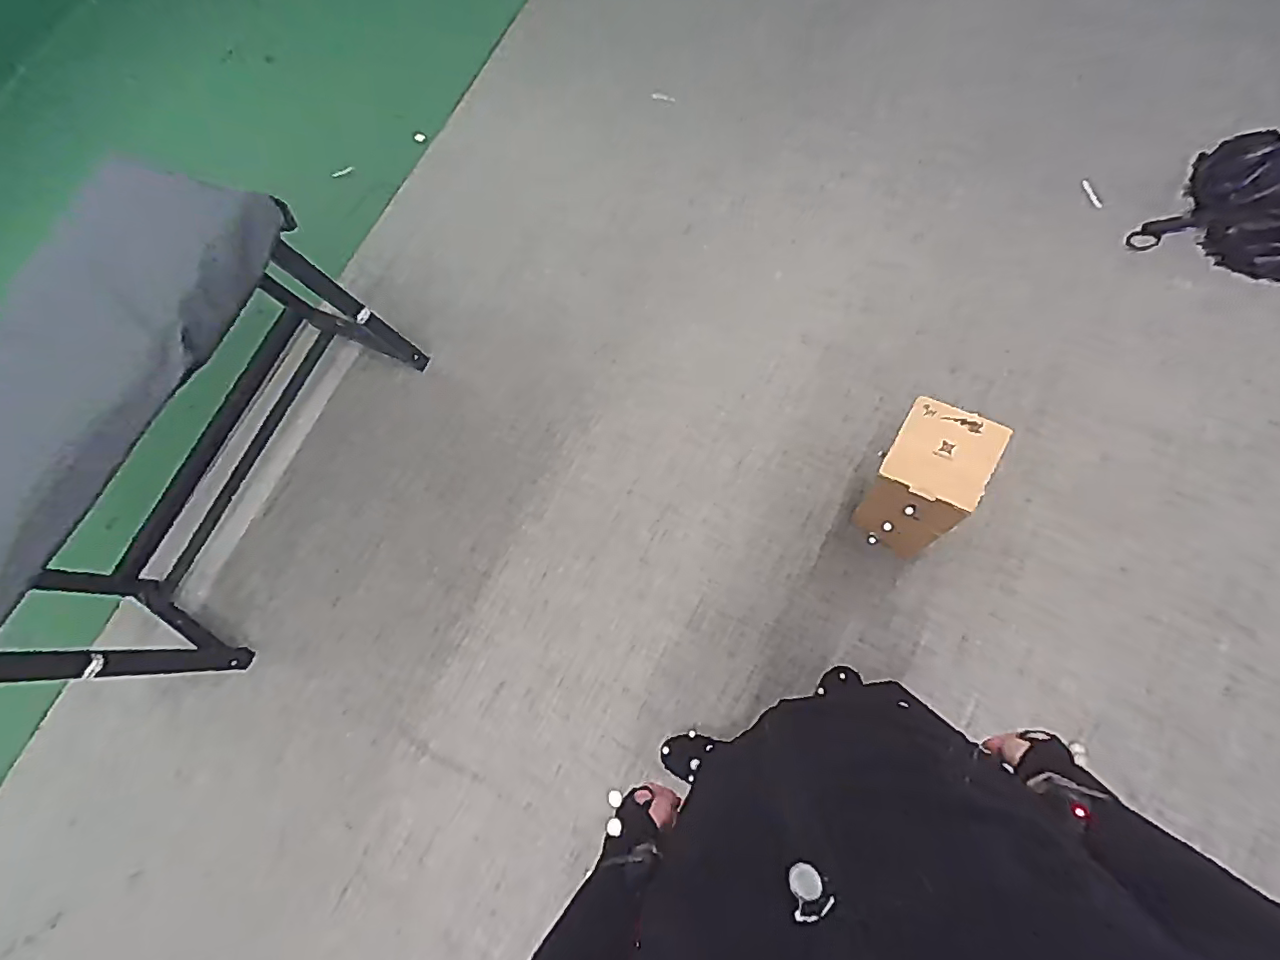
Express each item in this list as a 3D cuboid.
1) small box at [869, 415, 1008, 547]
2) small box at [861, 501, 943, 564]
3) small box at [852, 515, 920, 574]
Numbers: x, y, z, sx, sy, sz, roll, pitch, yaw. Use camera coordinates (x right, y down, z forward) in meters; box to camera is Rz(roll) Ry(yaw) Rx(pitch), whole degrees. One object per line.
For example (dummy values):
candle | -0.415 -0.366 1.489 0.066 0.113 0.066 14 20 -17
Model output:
small box | 0.561 0.010 1.044 0.168 0.176 0.179 29 81 22
small box | 0.610 0.061 1.190 0.168 0.176 0.179 38 85 23
small box | 0.648 0.111 1.343 0.168 0.176 0.179 37 85 23
